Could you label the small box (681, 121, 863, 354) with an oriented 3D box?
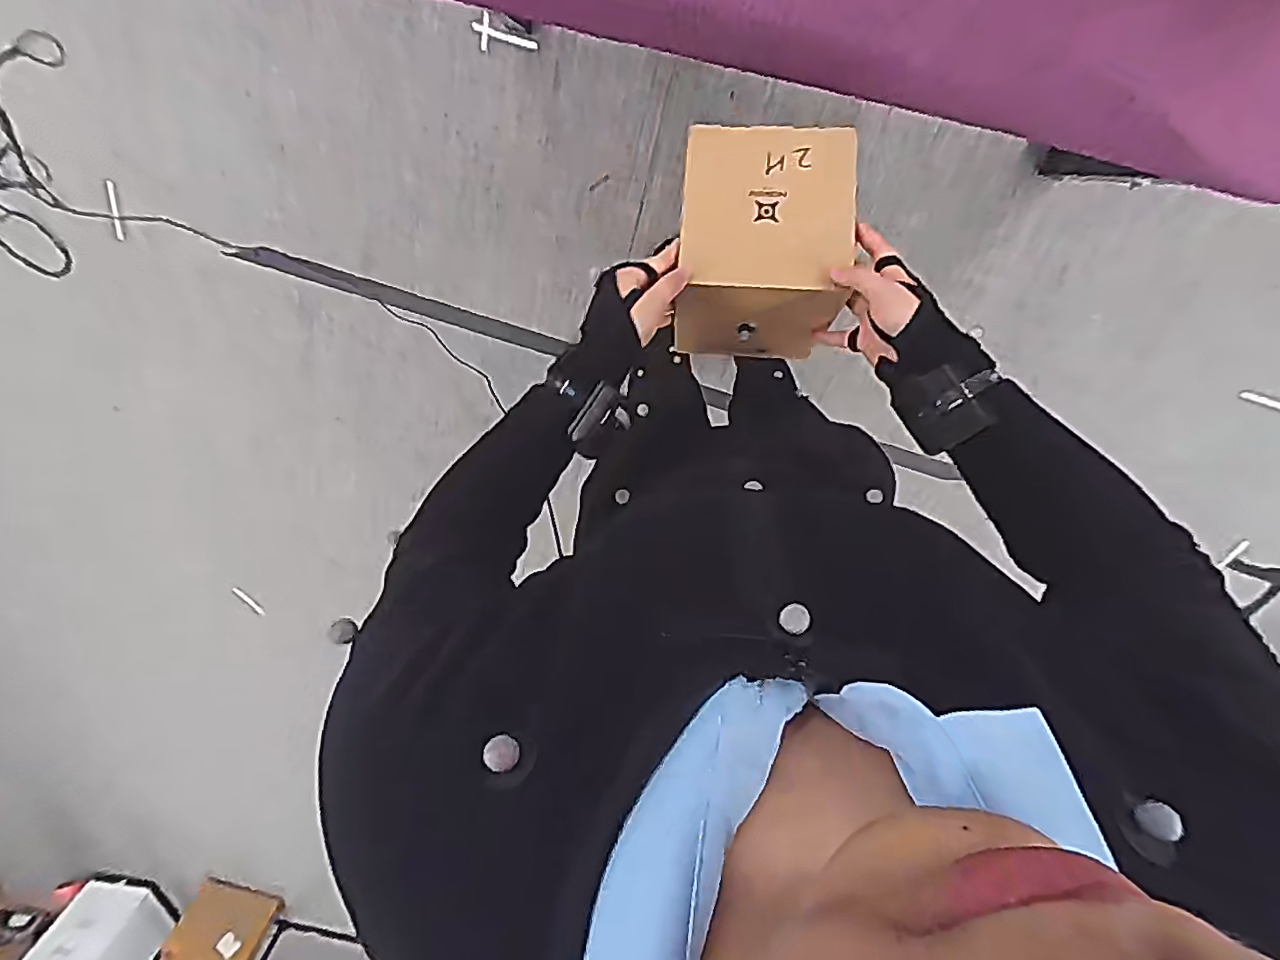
[{"bbox_3d":[0.136,-0.256,0.604,0.168,0.176,0.179,5,79,3],"label":"small box"}]
